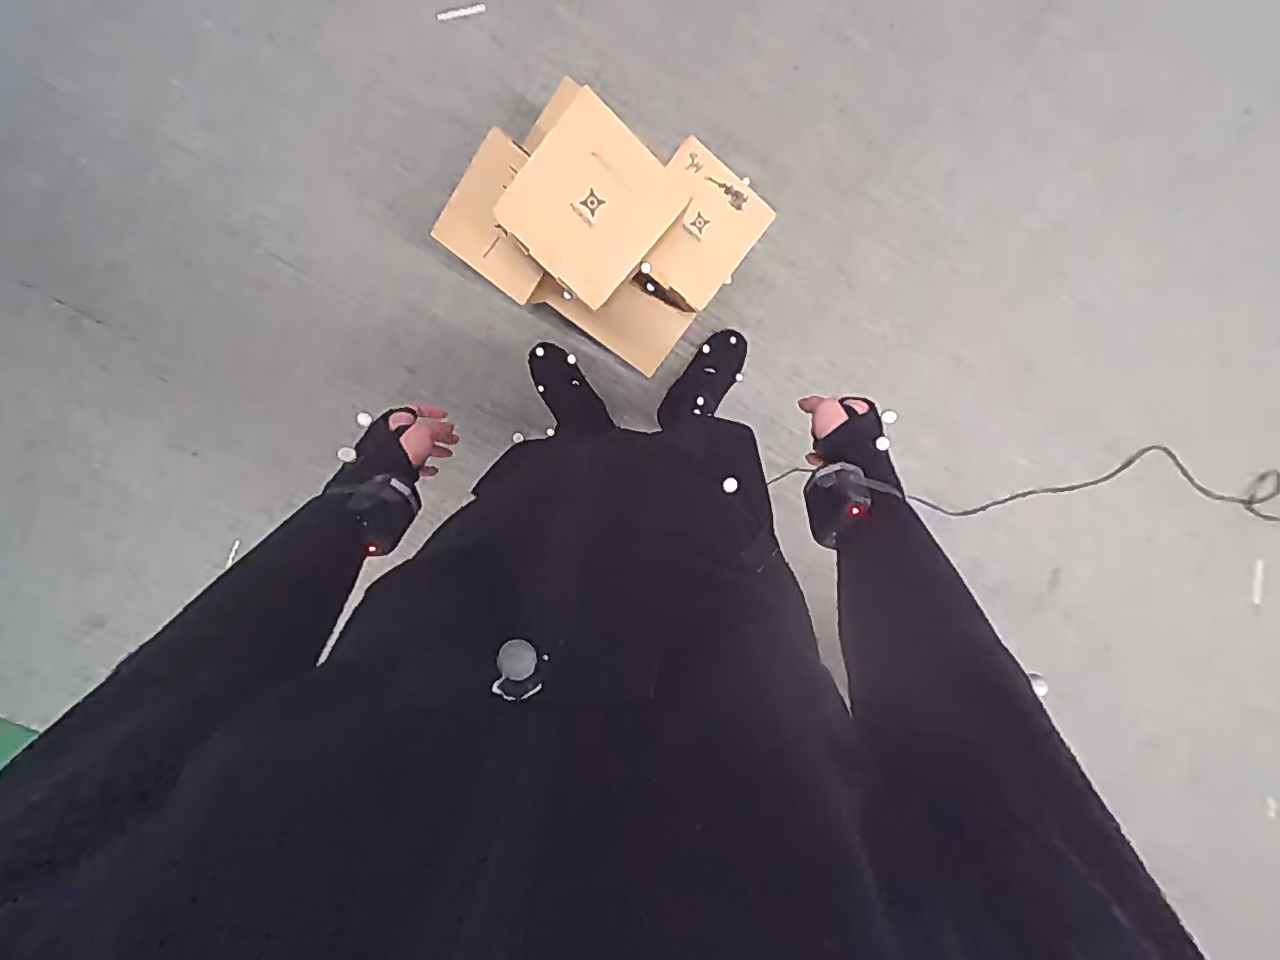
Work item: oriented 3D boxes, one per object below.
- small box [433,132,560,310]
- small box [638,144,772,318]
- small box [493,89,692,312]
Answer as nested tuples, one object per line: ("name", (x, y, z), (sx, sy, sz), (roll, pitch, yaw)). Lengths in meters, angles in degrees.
("small box", (-0.185, -0.392, 0.849), (0.168, 0.176, 0.179), (38, 106, -11))
("small box", (0.078, -0.376, 0.857), (0.168, 0.176, 0.179), (37, 103, -10))
("small box", (-0.055, -0.336, 0.696), (0.168, 0.176, 0.179), (41, 101, -13))
